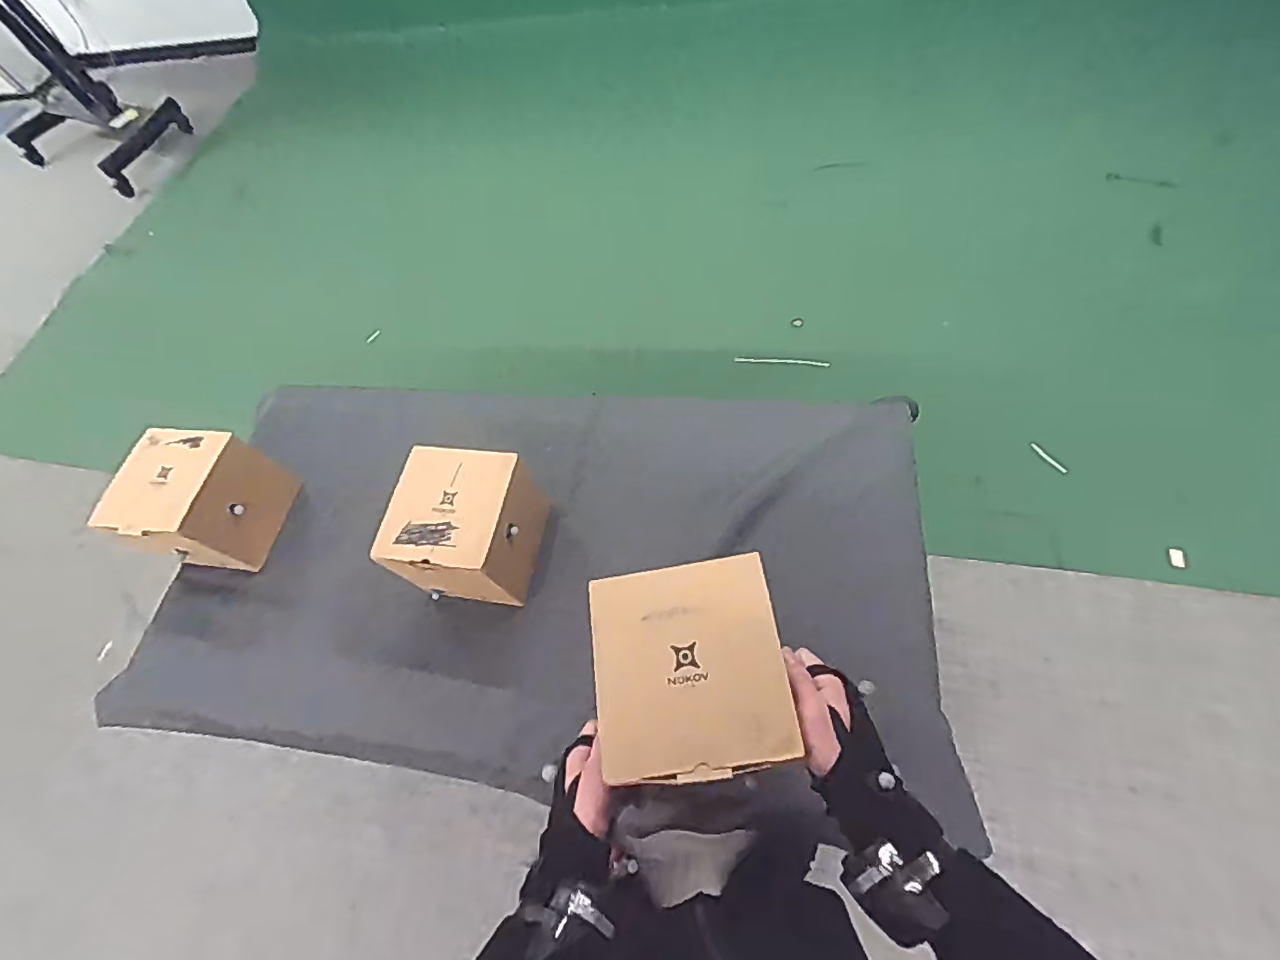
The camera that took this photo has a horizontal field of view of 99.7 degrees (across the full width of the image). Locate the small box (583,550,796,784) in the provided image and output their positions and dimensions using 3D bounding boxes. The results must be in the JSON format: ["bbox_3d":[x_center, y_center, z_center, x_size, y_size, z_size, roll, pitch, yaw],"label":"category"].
[{"bbox_3d":[0.048,0.189,0.532,0.168,0.176,0.179,-10,60,5],"label":"small box"}]

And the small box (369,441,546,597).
[{"bbox_3d":[-0.253,0.064,0.799,0.168,0.176,0.179,5,63,11],"label":"small box"}]

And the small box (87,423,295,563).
[{"bbox_3d":[-0.717,0.027,0.889,0.168,0.176,0.179,4,65,9],"label":"small box"}]
